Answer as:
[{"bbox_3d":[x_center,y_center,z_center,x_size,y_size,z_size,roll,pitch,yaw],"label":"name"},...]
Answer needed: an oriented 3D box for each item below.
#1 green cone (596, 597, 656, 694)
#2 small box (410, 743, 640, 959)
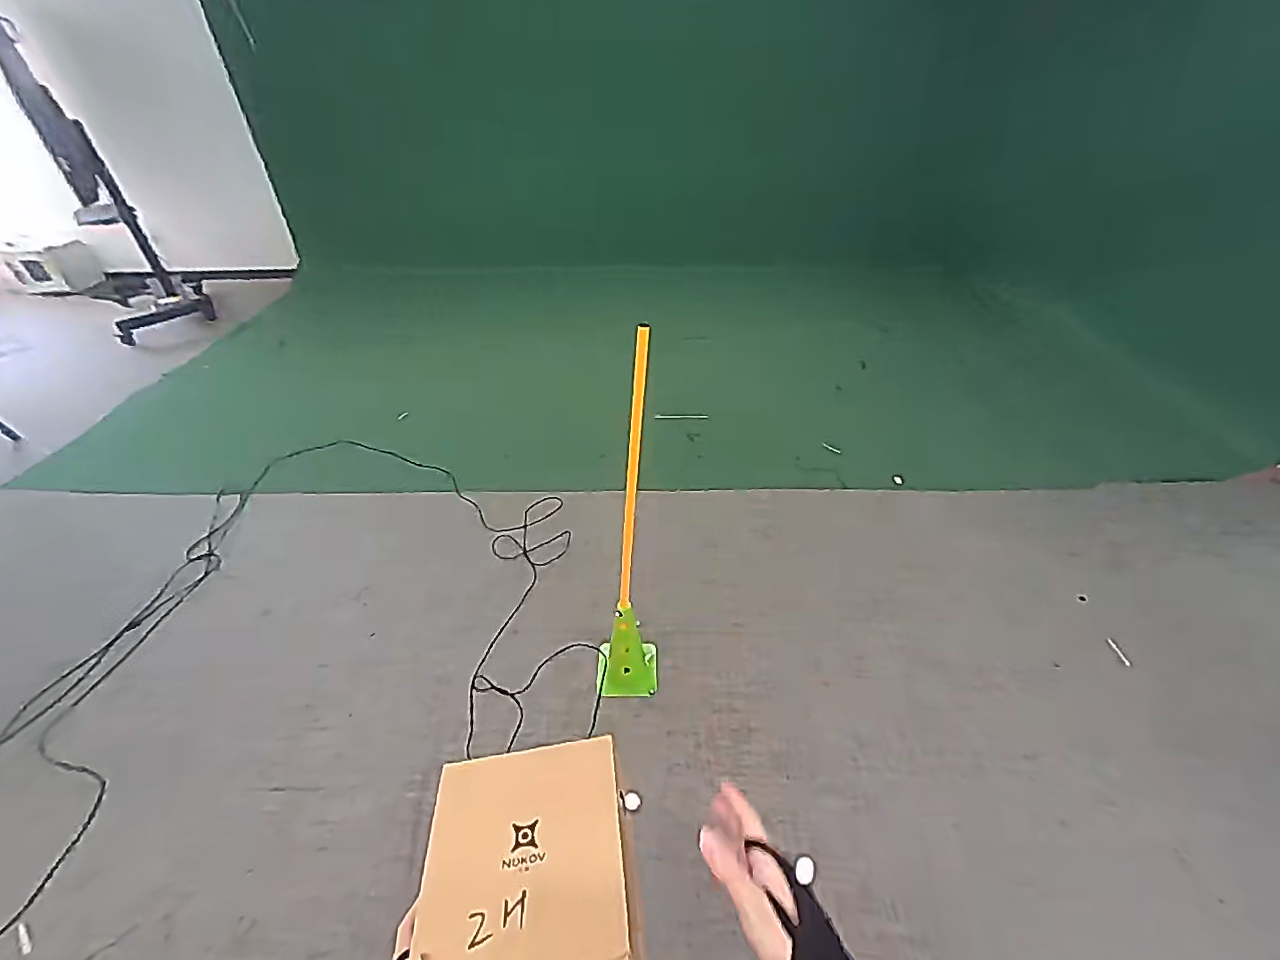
[{"bbox_3d":[-0.052,0.505,1.741,0.202,0.368,0.200,-1,39,1],"label":"green cone"},{"bbox_3d":[-0.091,0.382,0.502,0.168,0.176,0.179,-8,34,-2],"label":"small box"}]
